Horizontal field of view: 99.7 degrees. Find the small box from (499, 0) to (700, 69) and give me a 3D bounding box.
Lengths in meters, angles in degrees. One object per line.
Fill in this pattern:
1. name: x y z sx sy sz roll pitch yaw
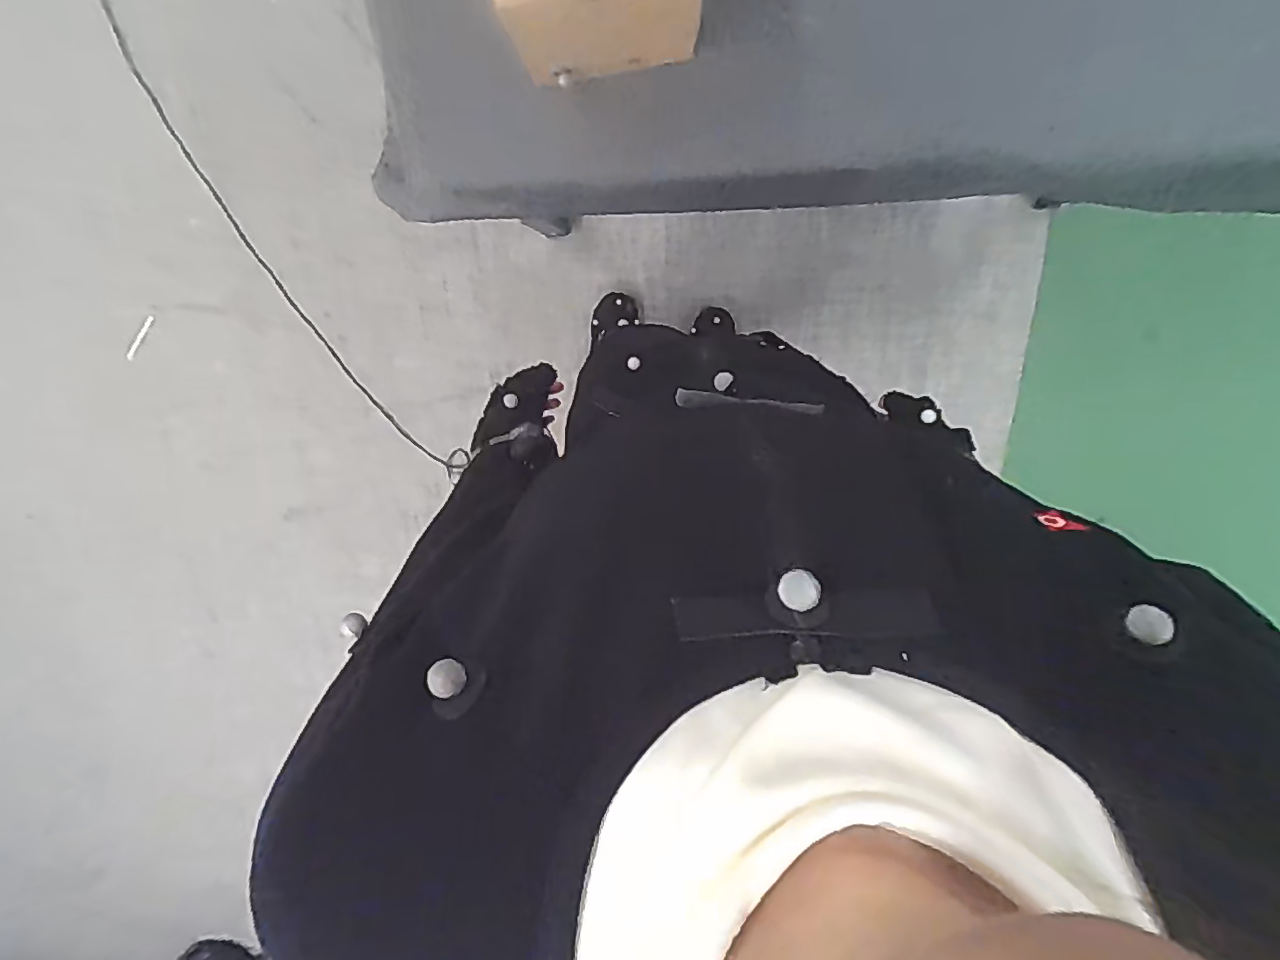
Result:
1. small box: -0.037 -0.480 0.453 0.168 0.176 0.179 -8 107 4
